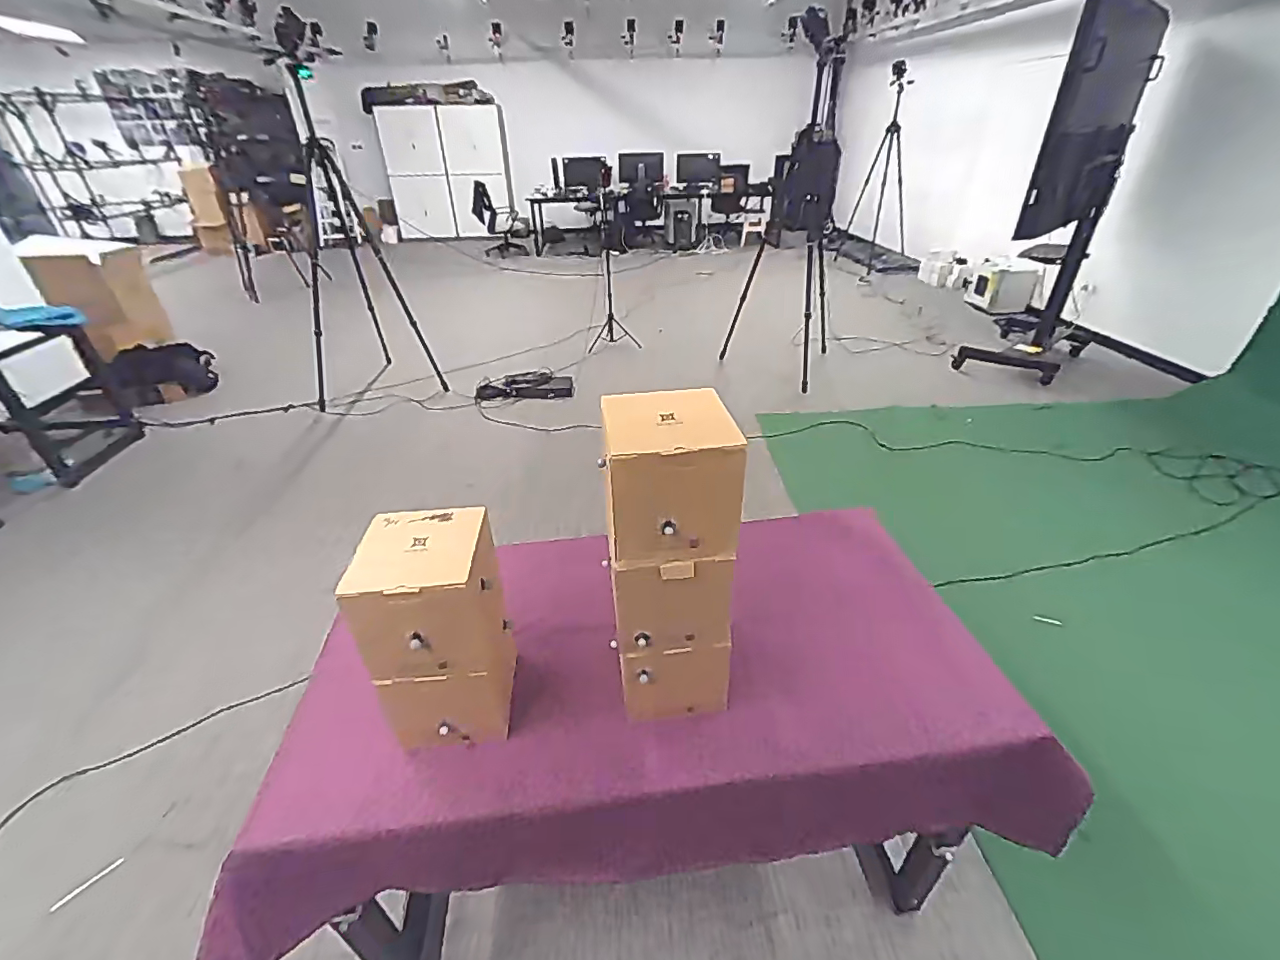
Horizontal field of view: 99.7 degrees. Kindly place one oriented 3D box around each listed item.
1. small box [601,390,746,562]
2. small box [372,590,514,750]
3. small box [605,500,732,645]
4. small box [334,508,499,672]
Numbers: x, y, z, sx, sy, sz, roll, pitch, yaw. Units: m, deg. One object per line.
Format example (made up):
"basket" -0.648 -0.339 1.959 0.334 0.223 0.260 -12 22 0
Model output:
"small box" 0.035 -0.010 0.743 0.168 0.176 0.179 -5 33 -6
"small box" -0.303 0.303 0.875 0.168 0.176 0.179 -4 33 -4
"small box" 0.038 0.133 0.823 0.168 0.176 0.179 -5 31 -5
"small box" -0.307 0.162 0.789 0.168 0.176 0.179 -4 33 -5
